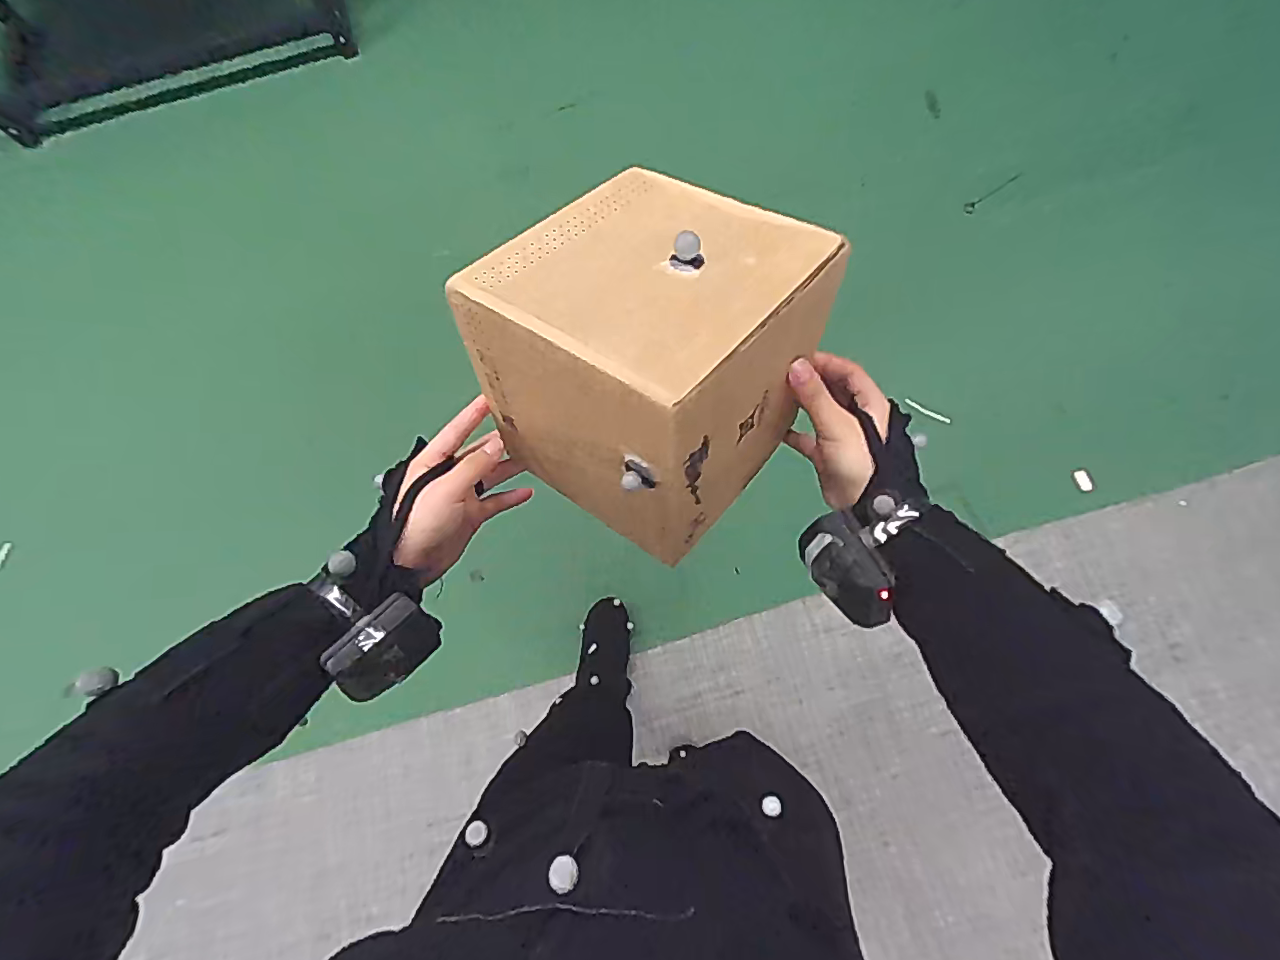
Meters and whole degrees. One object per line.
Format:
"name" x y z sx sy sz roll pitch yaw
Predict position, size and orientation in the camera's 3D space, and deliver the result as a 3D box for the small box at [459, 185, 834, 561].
"small box" 0.006 -0.083 0.392 0.176 0.168 0.179 32 61 23
